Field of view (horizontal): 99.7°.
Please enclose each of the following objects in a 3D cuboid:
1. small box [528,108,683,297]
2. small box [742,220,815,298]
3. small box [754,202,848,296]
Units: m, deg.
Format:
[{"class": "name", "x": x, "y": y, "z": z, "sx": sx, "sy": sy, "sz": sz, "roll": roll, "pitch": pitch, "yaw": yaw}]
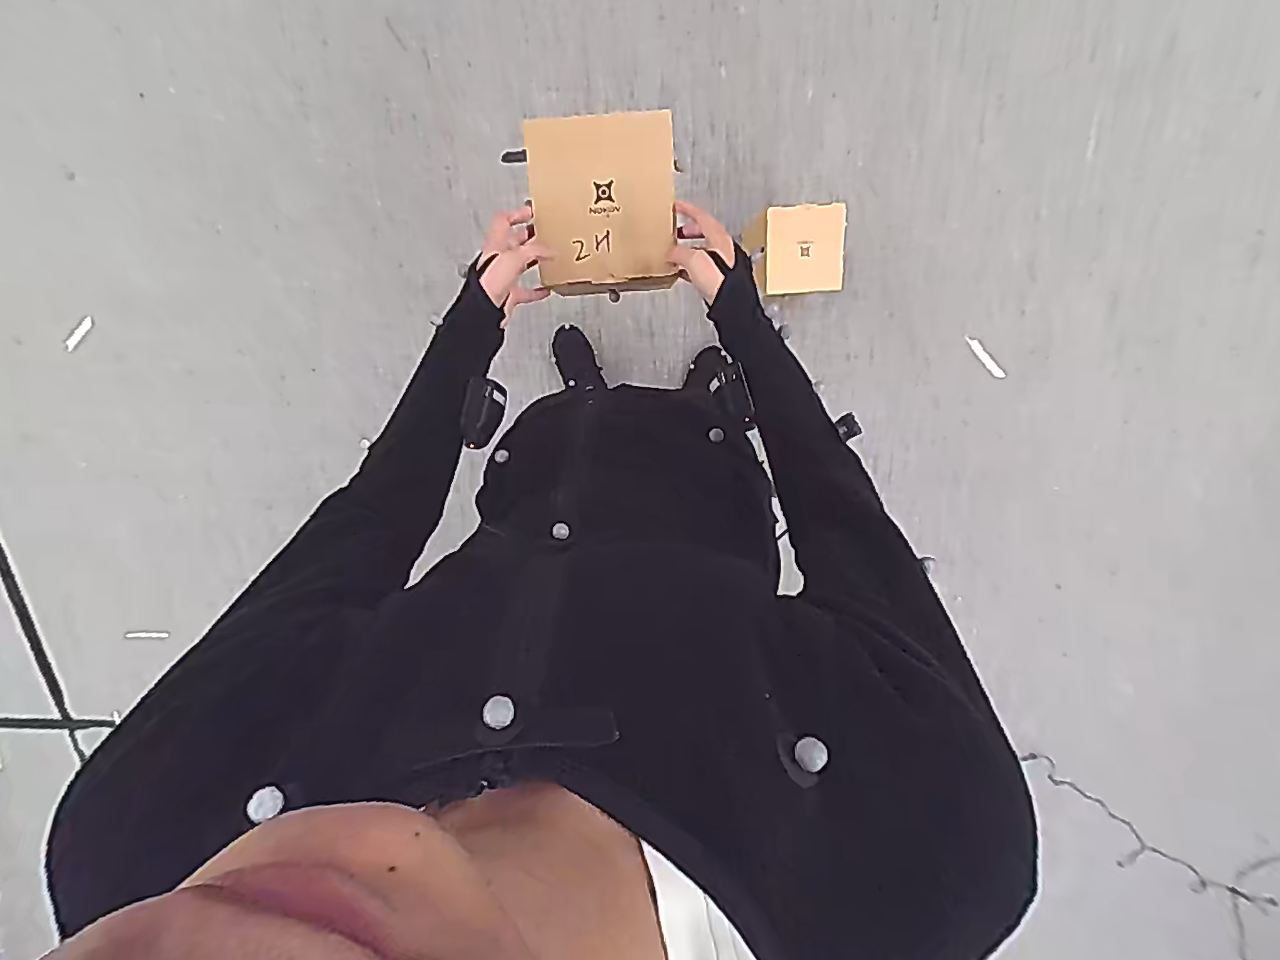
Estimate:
[{"class": "small box", "x": -0.037, "y": -0.331, "z": 0.678, "sx": 0.168, "sy": 0.176, "sz": 0.179, "roll": -4, "pitch": 105, "yaw": 1}, {"class": "small box", "x": 0.354, "y": -0.558, "z": 1.372, "sx": 0.168, "sy": 0.176, "sz": 0.179, "roll": -4, "pitch": 106, "yaw": 2}, {"class": "small box", "x": 0.354, "y": -0.511, "z": 1.217, "sx": 0.168, "sy": 0.176, "sz": 0.179, "roll": -3, "pitch": 106, "yaw": 2}]
